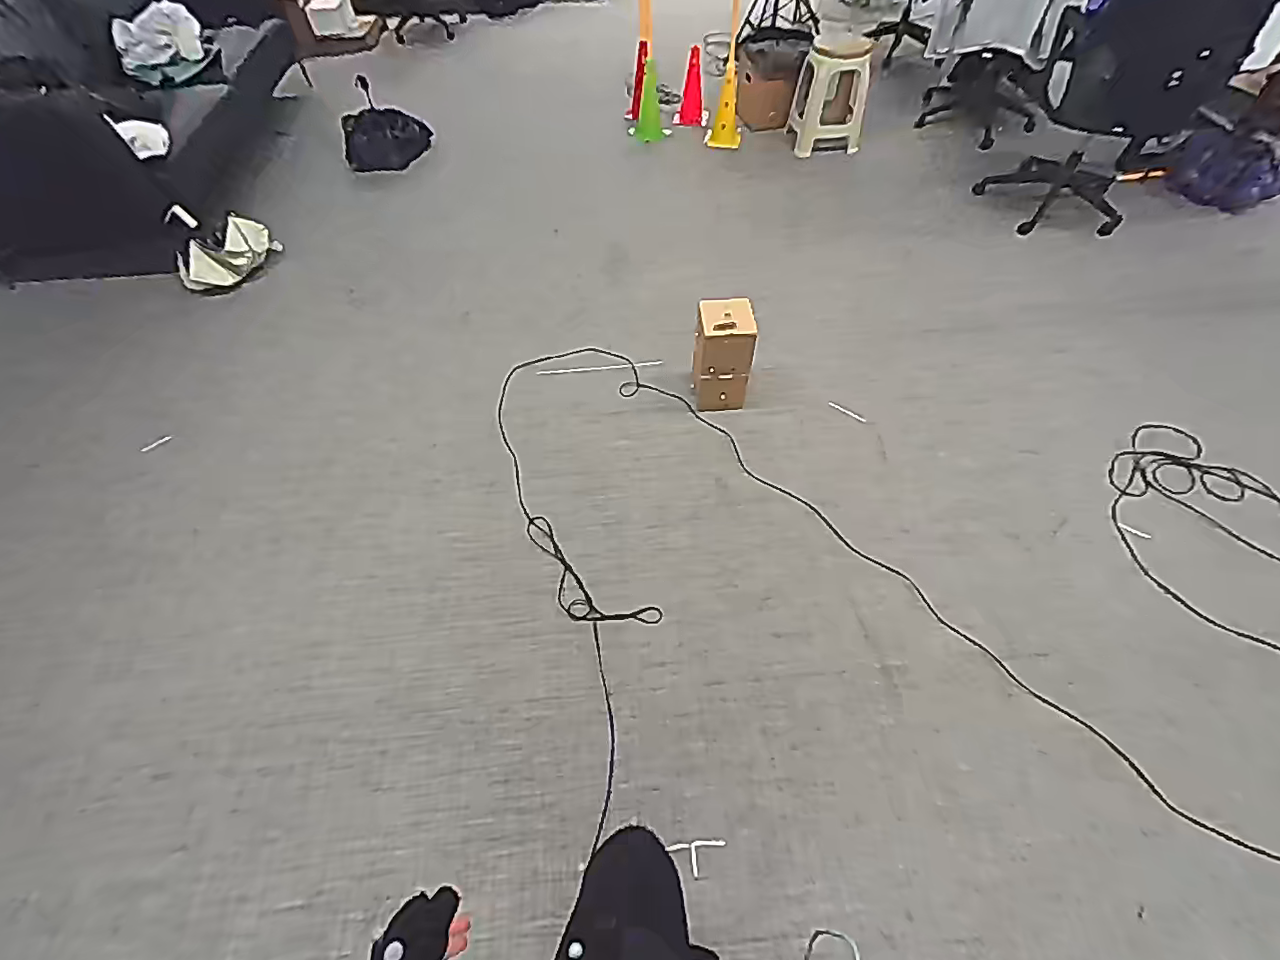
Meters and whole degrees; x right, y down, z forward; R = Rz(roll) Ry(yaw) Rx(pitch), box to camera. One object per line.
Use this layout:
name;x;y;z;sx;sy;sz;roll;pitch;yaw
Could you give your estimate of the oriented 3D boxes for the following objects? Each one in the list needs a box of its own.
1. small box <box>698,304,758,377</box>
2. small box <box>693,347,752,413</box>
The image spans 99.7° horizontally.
small box;0.283;-0.449;1.764;0.168;0.176;0.179;-3;54;0
small box;0.283;-0.350;1.898;0.168;0.176;0.179;-4;57;-5
